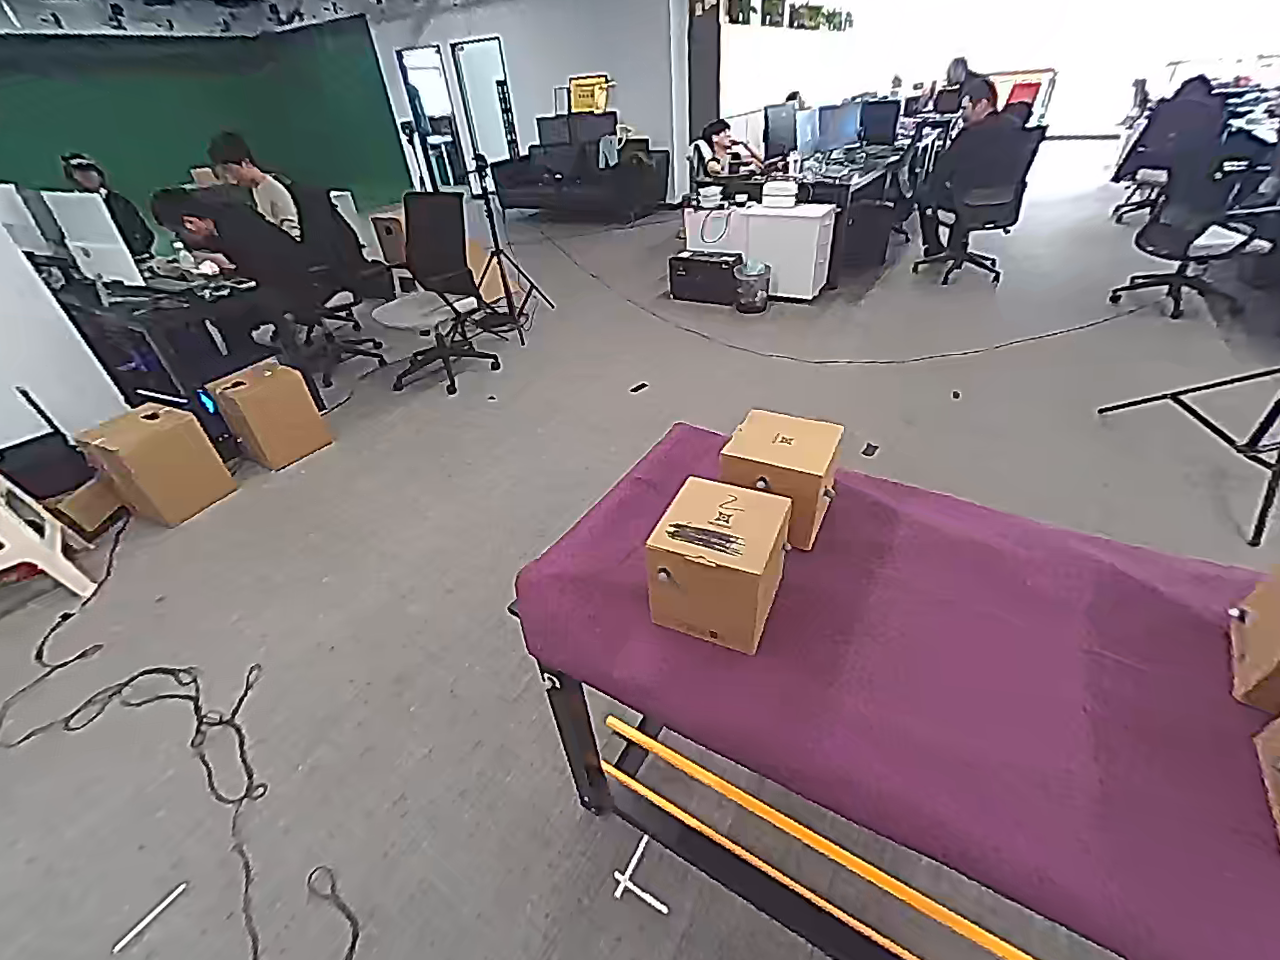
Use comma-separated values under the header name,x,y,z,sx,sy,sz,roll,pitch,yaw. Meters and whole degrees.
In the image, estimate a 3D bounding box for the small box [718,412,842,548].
name,x,y,z,sx,sy,sz,roll,pitch,yaw
small box,0.253,0.000,0.992,0.179,0.176,0.168,15,40,24

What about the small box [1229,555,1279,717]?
name,x,y,z,sx,sy,sz,roll,pitch,yaw
small box,0.860,0.203,0.644,0.179,0.176,0.168,23,46,31
